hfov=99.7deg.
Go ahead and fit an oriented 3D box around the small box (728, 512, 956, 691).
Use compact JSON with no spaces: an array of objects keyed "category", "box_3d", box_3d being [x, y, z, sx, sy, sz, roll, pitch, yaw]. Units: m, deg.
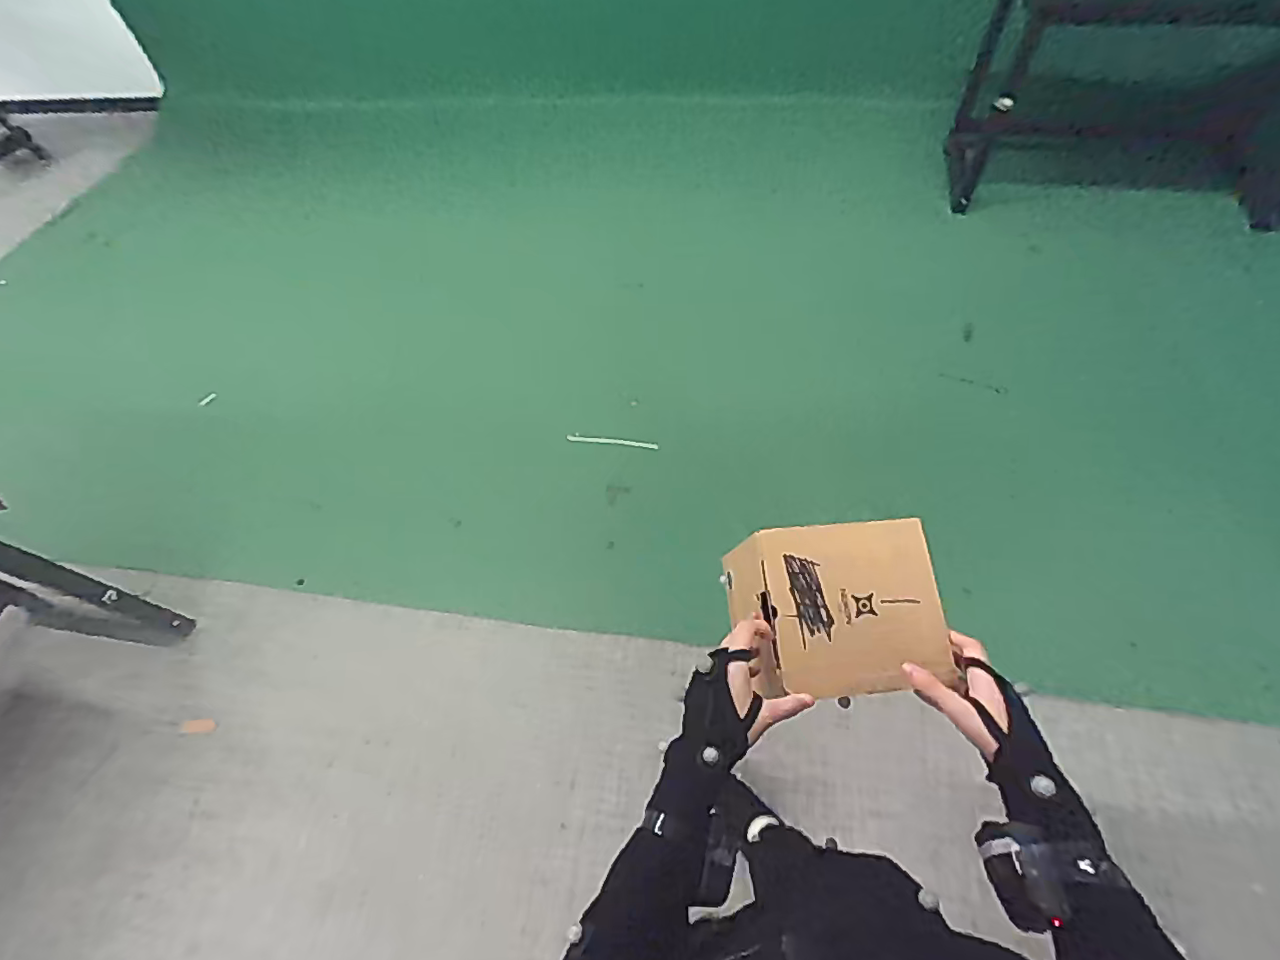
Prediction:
[{"category":"small box","box_3d":[0.202,0.141,0.602,0.179,0.176,0.168,-3,72,-5]}]
